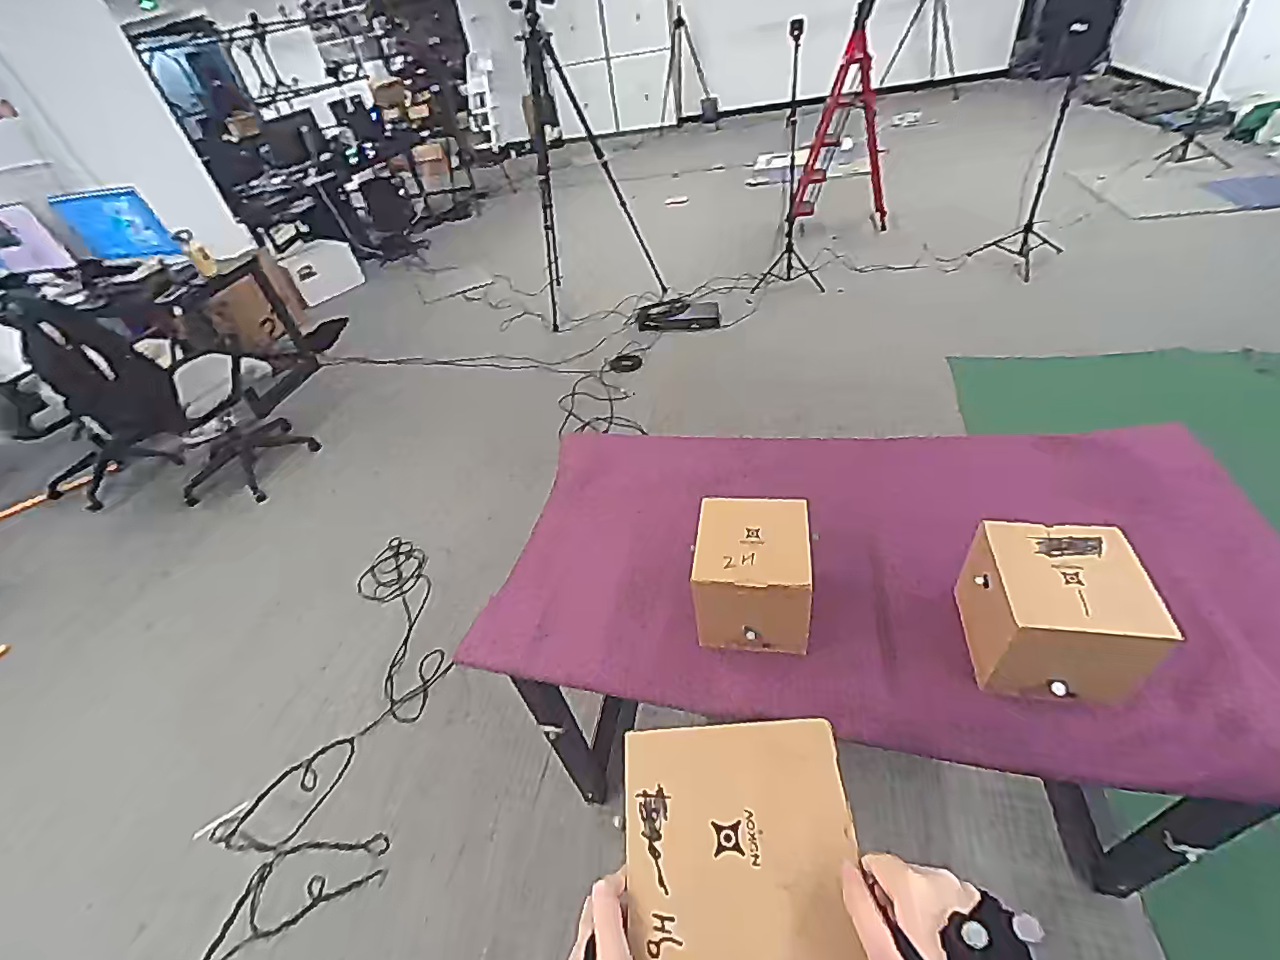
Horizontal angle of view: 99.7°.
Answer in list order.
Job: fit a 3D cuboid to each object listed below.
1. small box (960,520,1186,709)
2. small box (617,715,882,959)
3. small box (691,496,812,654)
[{"bbox_3d":[0.551,0.176,0.726,0.168,0.176,0.179,1,42,15],"label":"small box"},{"bbox_3d":[0.079,0.313,0.462,0.179,0.176,0.168,-5,48,5],"label":"small box"},{"bbox_3d":[0.176,0.145,0.846,0.168,0.176,0.179,0,41,14],"label":"small box"}]
